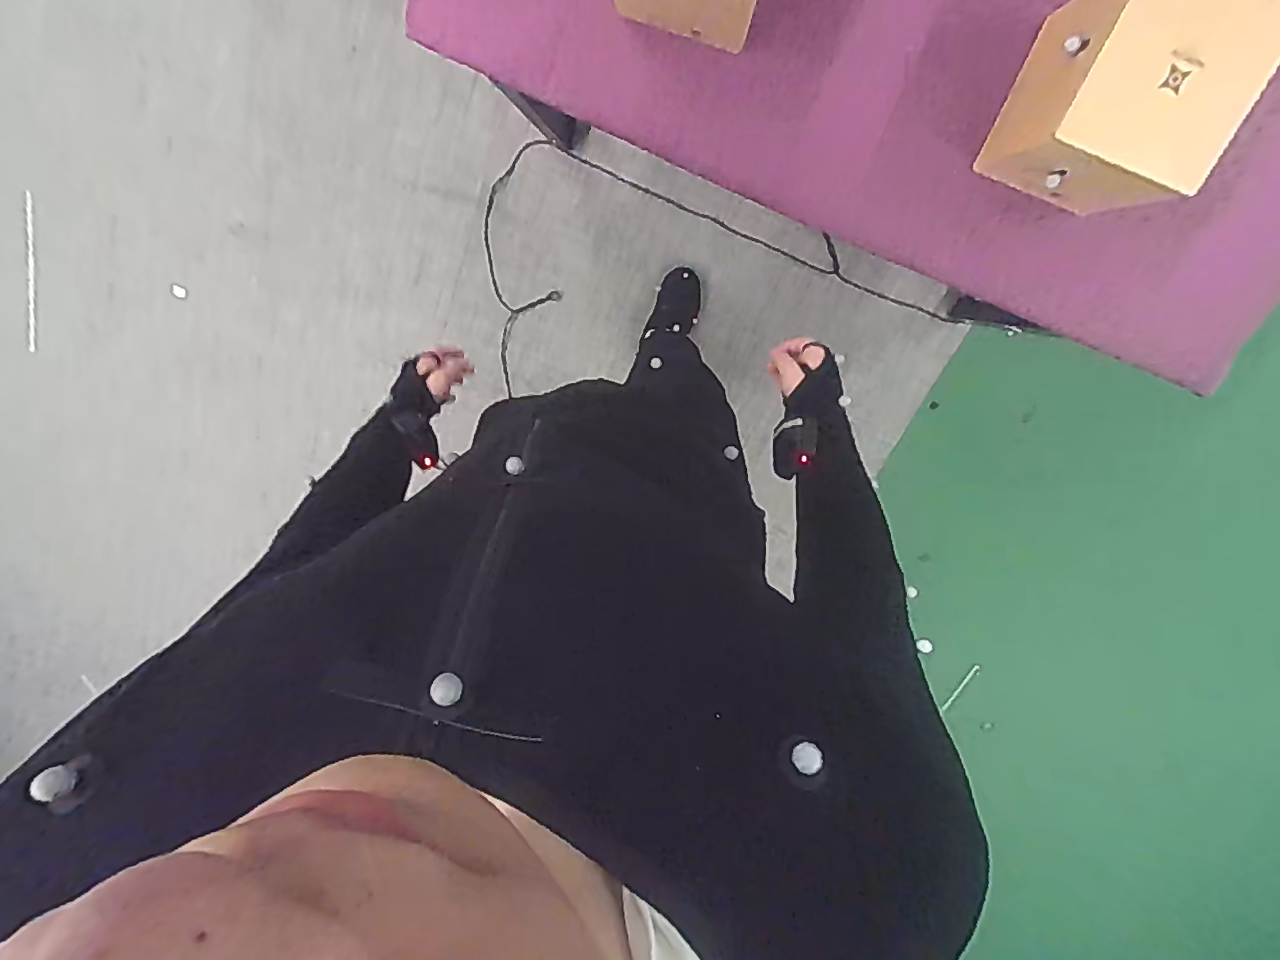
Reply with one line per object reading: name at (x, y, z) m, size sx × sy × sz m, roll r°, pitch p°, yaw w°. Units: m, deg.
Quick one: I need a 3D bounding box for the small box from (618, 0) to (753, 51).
small box at (0.063, -0.609, 0.571) m, size 0.168 × 0.176 × 0.179 m, roll 17°, pitch 110°, yaw -1°

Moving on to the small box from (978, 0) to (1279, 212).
small box at (0.524, -0.424, 0.606) m, size 0.168 × 0.176 × 0.179 m, roll 20°, pitch 109°, yaw -3°
